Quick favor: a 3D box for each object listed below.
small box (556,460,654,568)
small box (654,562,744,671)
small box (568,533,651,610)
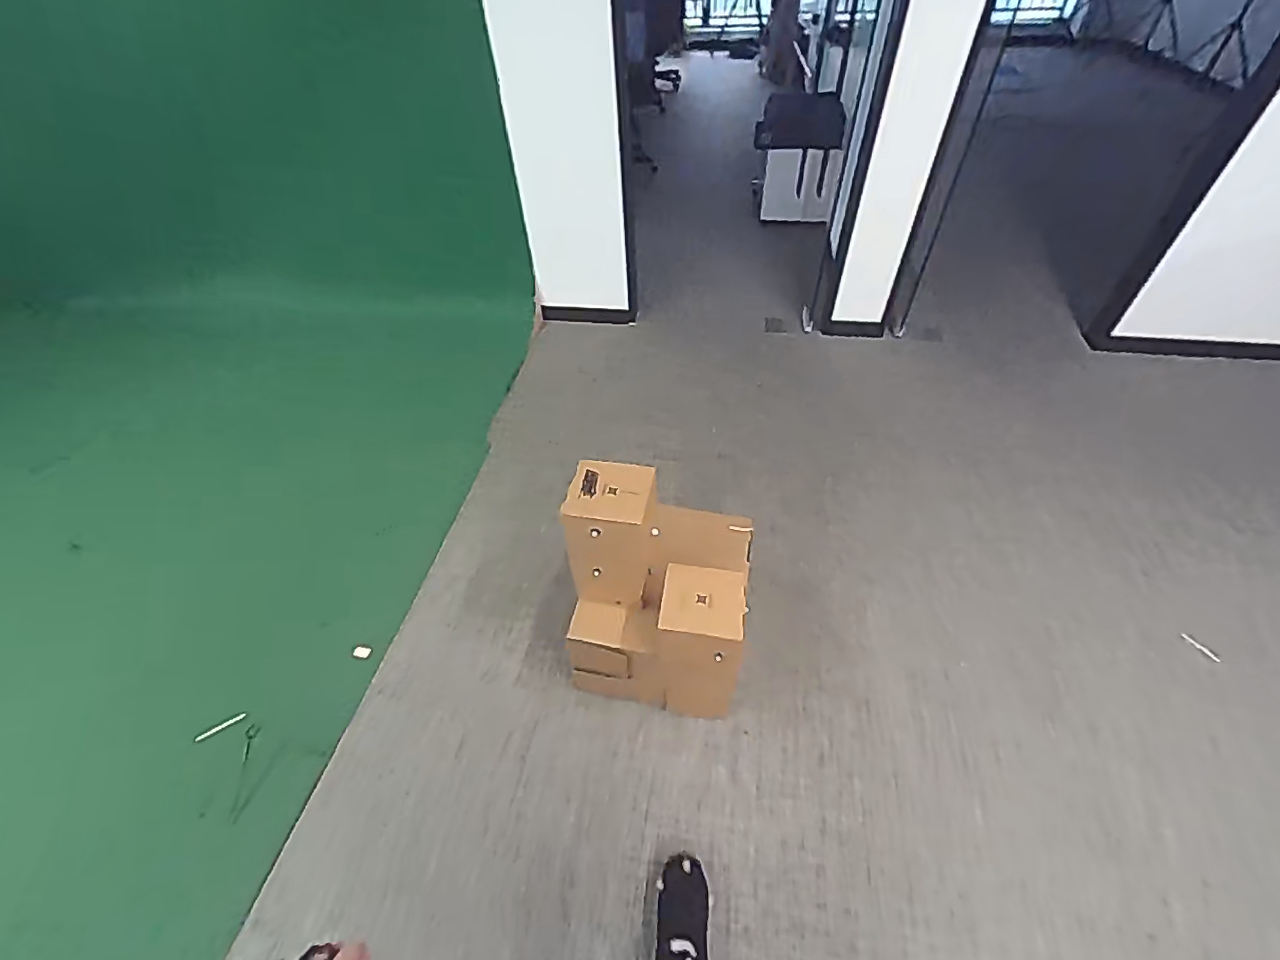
[{"bbox_3d":[-0.070,0.078,1.202,0.179,0.176,0.168,7,47,9],"label":"small box"},{"bbox_3d":[0.130,0.307,1.203,0.179,0.176,0.168,6,47,8],"label":"small box"},{"bbox_3d":[-0.067,0.189,1.324,0.168,0.176,0.179,7,46,10],"label":"small box"}]
